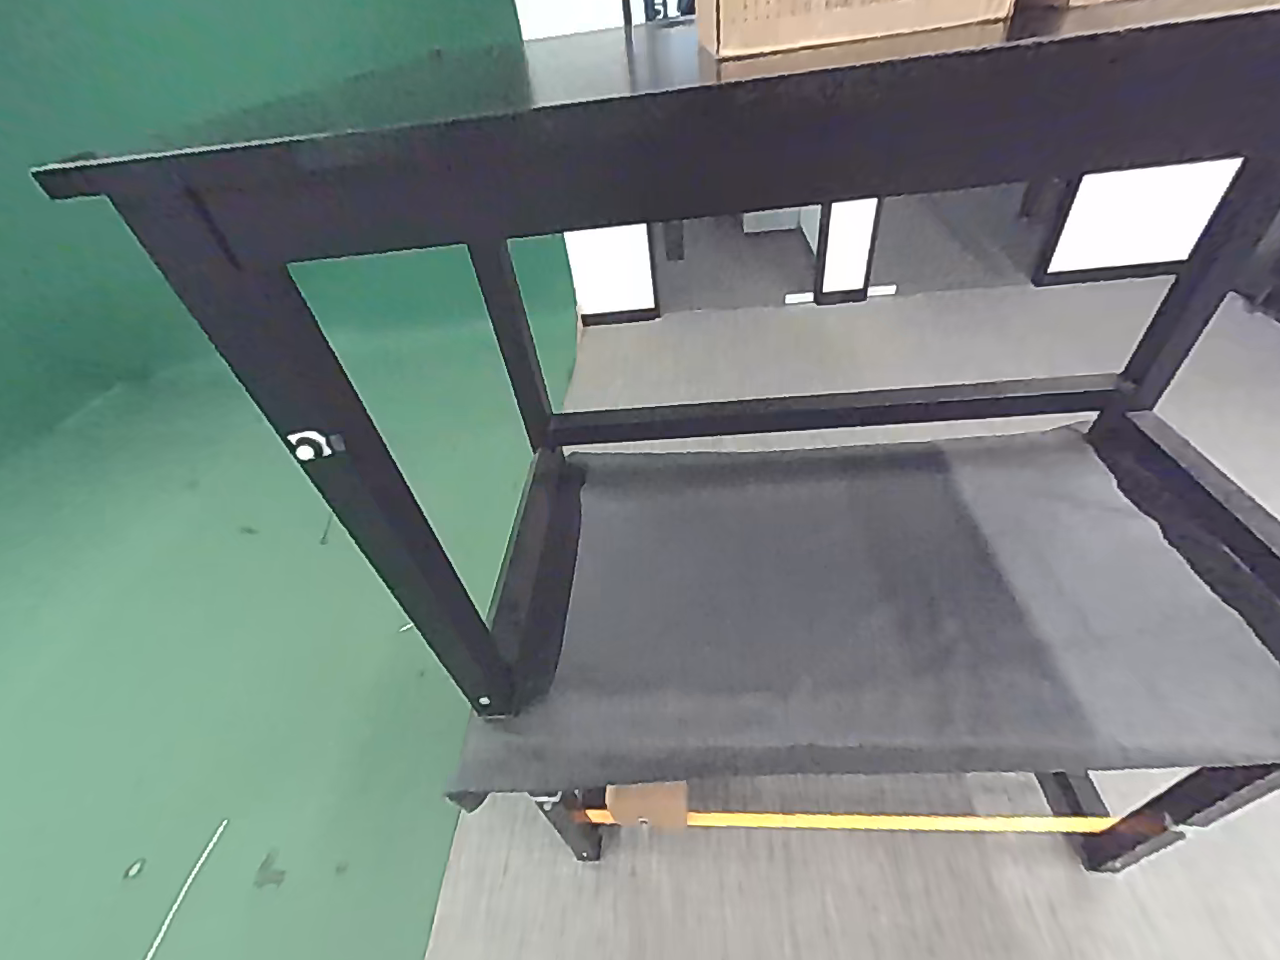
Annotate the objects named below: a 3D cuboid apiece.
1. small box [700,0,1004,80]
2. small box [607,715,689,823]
[{"bbox_3d":[0.122,-0.362,0.330,0.168,0.176,0.179,-4,43,5],"label":"small box"},{"bbox_3d":[0.025,0.659,1.235,0.168,0.176,0.179,-3,44,6],"label":"small box"}]
